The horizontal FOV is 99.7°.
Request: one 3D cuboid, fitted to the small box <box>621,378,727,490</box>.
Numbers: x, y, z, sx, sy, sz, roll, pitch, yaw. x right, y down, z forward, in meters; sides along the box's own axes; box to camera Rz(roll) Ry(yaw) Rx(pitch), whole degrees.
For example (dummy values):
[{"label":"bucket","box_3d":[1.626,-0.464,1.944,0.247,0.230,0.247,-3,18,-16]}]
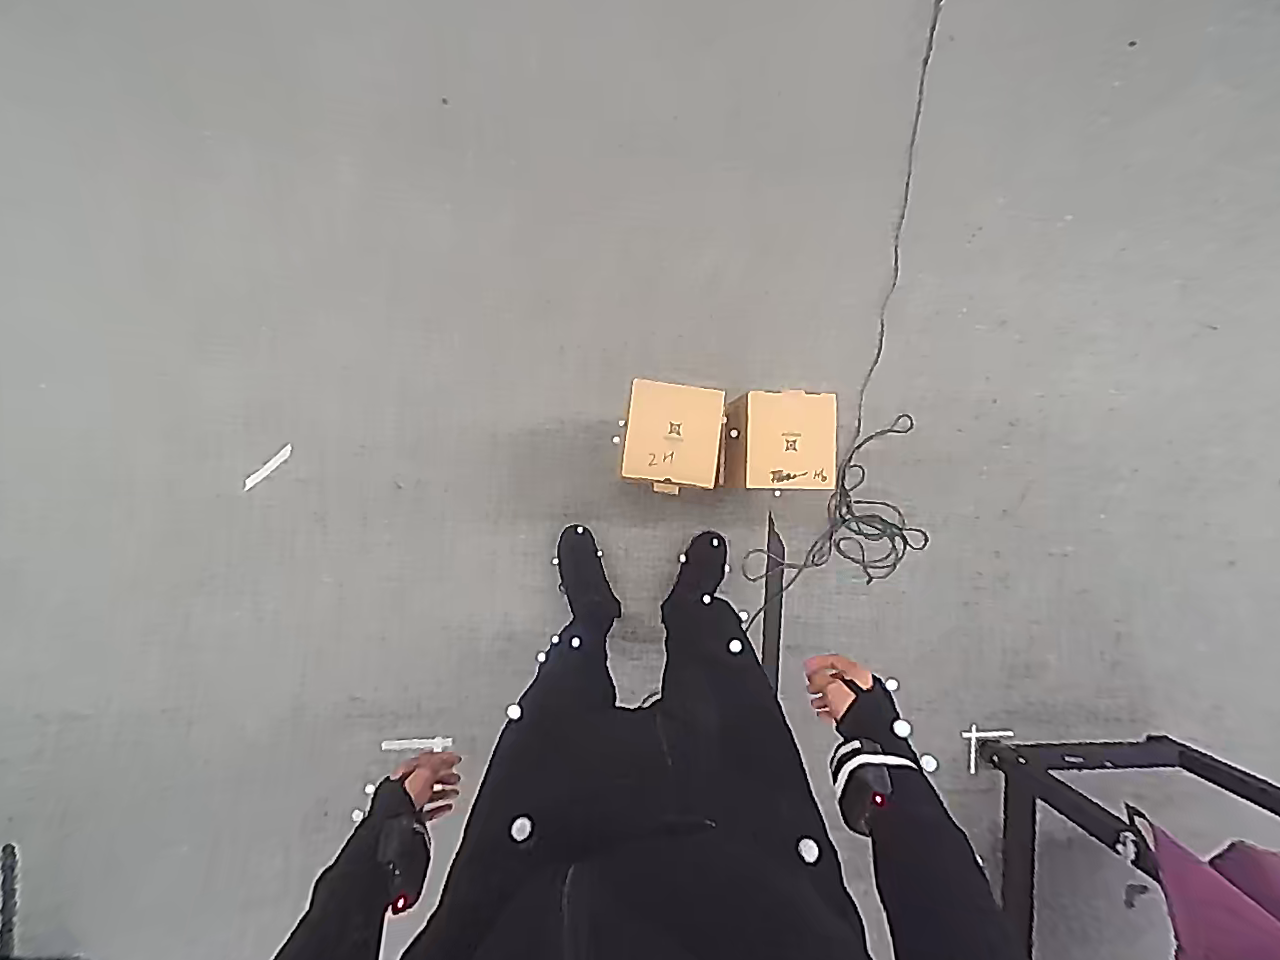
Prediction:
[{"label":"small box","box_3d":[0.055,-0.079,1.011,0.168,0.176,0.179,7,90,-3]}]
